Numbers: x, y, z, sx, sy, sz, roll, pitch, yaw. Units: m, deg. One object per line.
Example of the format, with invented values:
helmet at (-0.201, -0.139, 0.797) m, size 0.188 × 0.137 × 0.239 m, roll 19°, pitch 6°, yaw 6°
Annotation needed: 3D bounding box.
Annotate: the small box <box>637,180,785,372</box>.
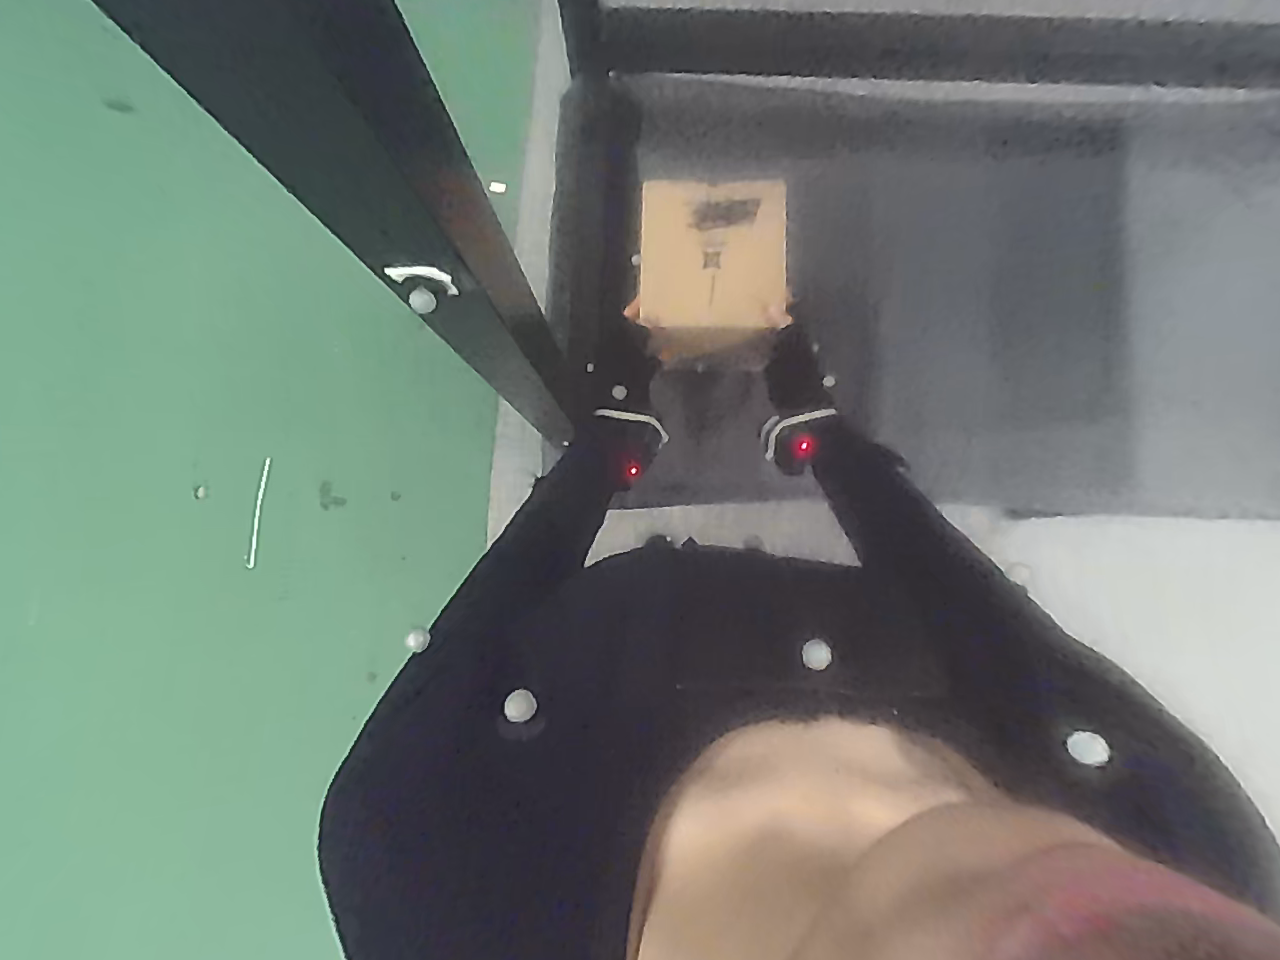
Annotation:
small box at (0.085, -0.249, 0.689) m, size 0.168 × 0.176 × 0.179 m, roll 1°, pitch 85°, yaw 4°
